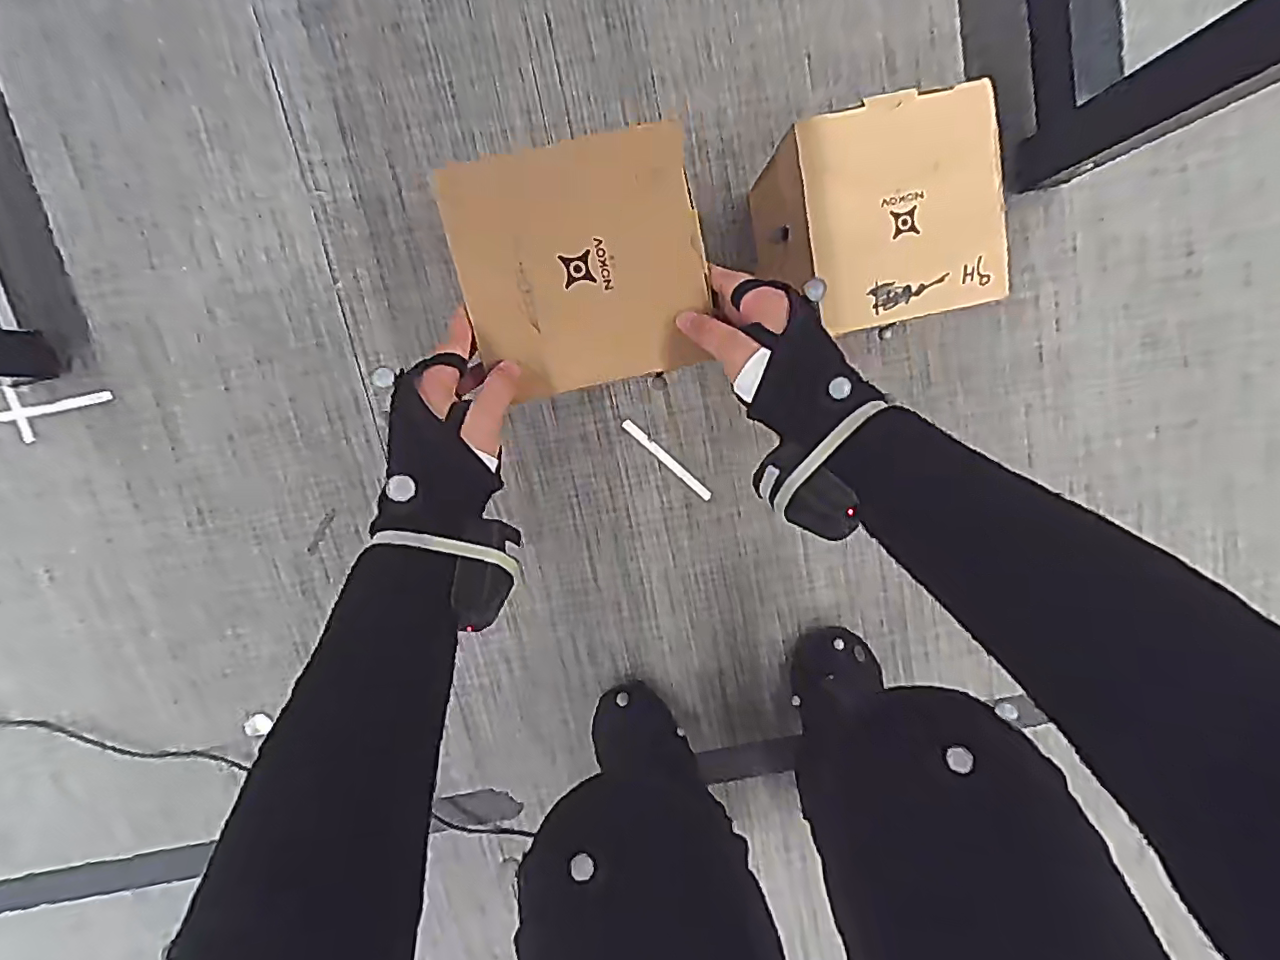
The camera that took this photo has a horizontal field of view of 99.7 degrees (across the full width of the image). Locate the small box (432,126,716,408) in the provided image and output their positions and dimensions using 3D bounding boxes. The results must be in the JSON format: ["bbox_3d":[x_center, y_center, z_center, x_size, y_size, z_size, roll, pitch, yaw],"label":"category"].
[{"bbox_3d":[-0.049,-0.164,0.467,0.179,0.176,0.168,-14,100,-1],"label":"small box"}]

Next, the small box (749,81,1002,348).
[{"bbox_3d":[0.213,-0.238,0.531,0.168,0.176,0.179,-12,99,1],"label":"small box"}]
